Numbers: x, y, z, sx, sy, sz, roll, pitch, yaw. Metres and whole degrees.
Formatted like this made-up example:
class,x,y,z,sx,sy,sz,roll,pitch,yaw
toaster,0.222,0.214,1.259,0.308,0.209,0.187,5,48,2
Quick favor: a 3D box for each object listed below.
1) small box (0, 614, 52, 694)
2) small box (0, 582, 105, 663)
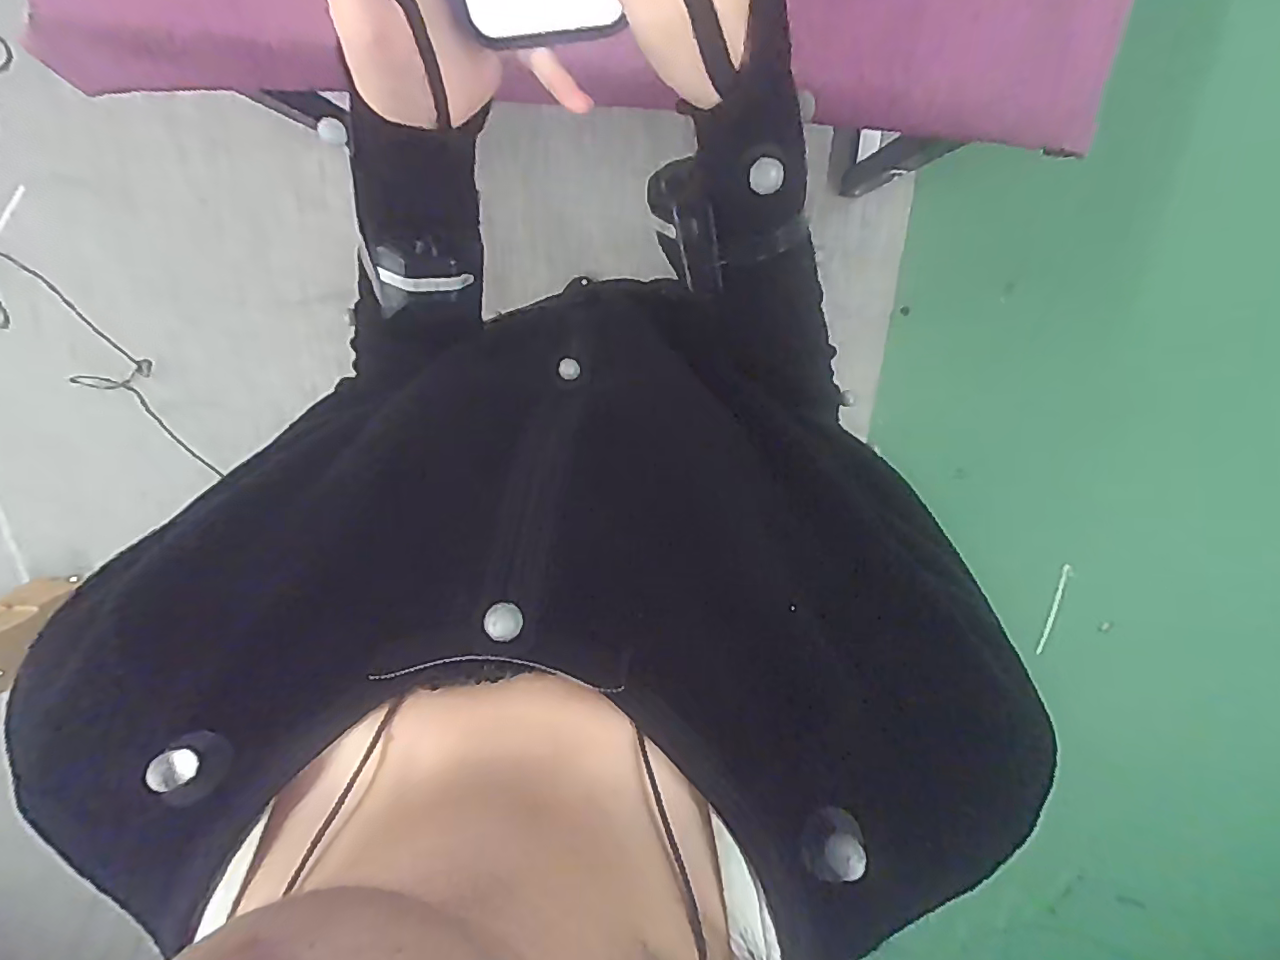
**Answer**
class,x,y,z,sx,sy,sz,roll,pitch,yaw
small box,-1.766,0.475,1.451,0.179,0.176,0.168,4,109,1
small box,-1.764,0.418,1.605,0.168,0.176,0.179,2,109,1
